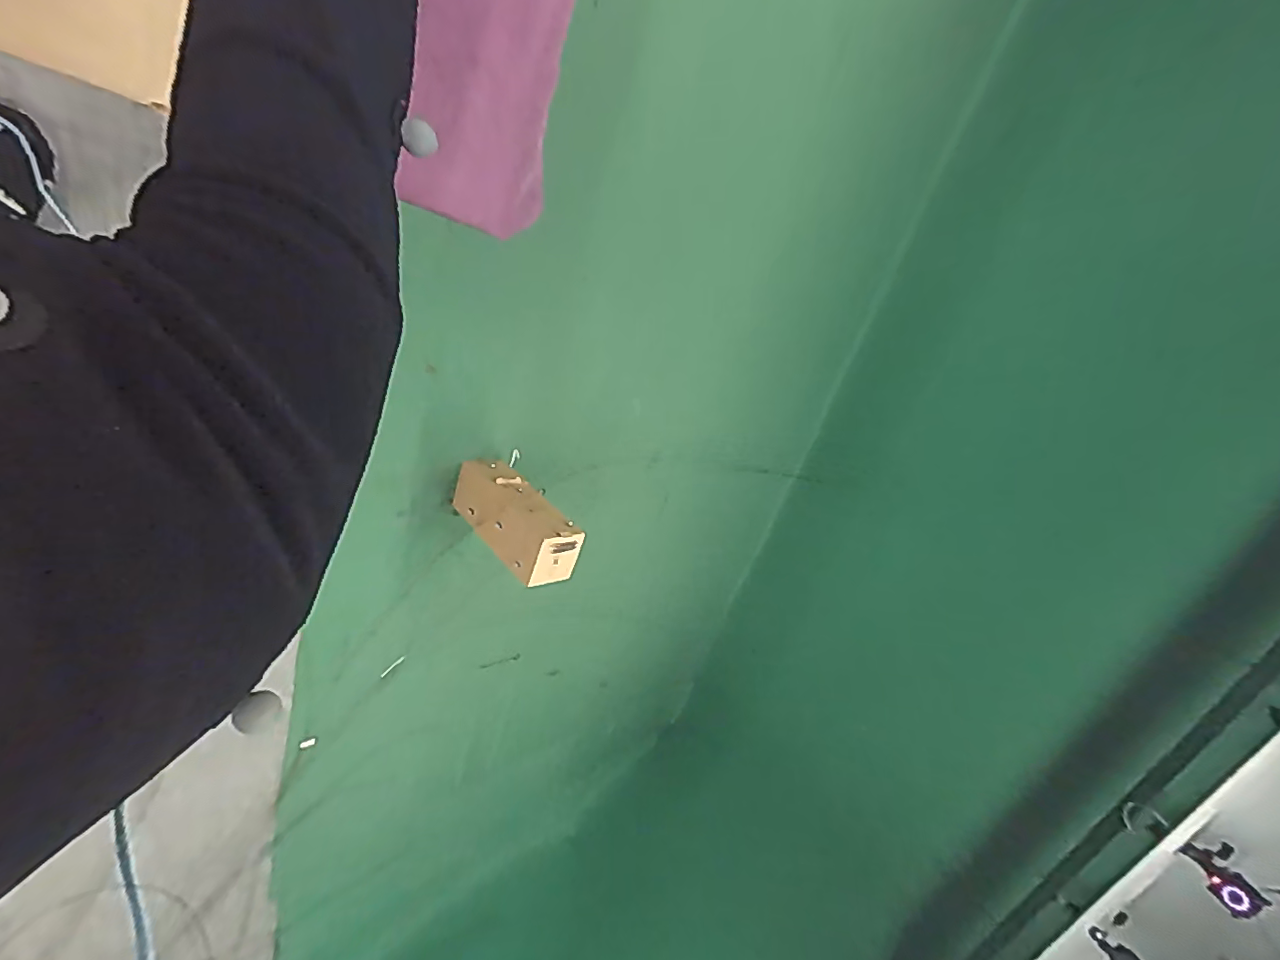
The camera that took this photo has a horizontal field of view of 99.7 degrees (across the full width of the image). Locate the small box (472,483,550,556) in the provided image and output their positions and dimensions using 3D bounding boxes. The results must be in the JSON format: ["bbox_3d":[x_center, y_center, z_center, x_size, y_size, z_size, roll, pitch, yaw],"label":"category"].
[{"bbox_3d":[-0.428,0.125,1.778,0.168,0.176,0.179,-2,120,-49],"label":"small box"}]

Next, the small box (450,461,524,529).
[{"bbox_3d":[-0.535,0.047,1.873,0.168,0.176,0.179,-4,122,-50],"label":"small box"}]
